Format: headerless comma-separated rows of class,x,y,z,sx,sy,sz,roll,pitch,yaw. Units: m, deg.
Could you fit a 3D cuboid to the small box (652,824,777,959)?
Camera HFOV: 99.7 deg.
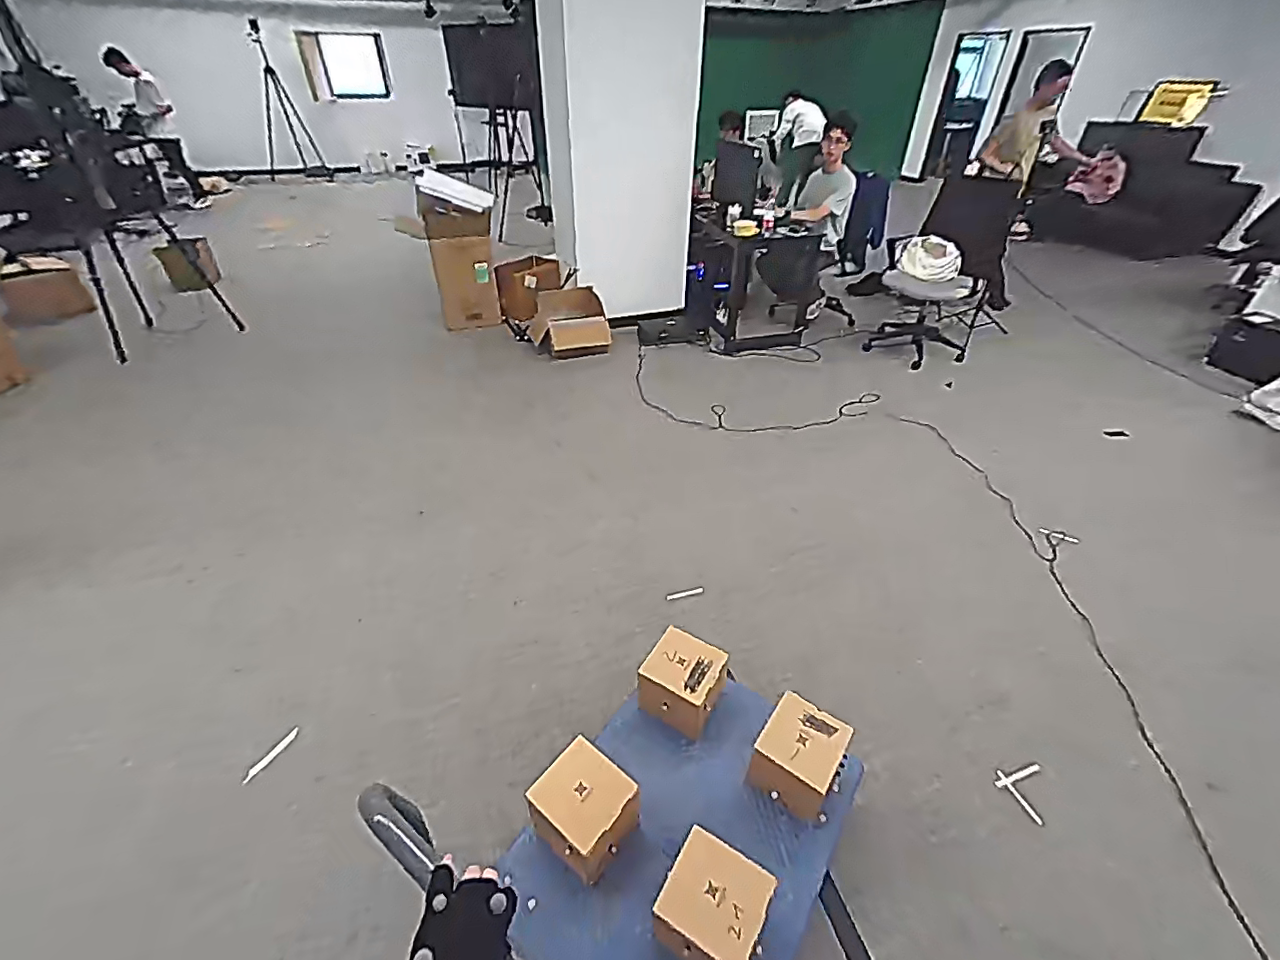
small box,0.135,0.807,1.018,0.179,0.176,0.168,22,42,26

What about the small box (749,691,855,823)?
small box,0.366,0.637,1.245,0.168,0.176,0.179,26,45,29

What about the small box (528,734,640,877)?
small box,-0.118,0.698,1.160,0.179,0.176,0.168,28,45,29
